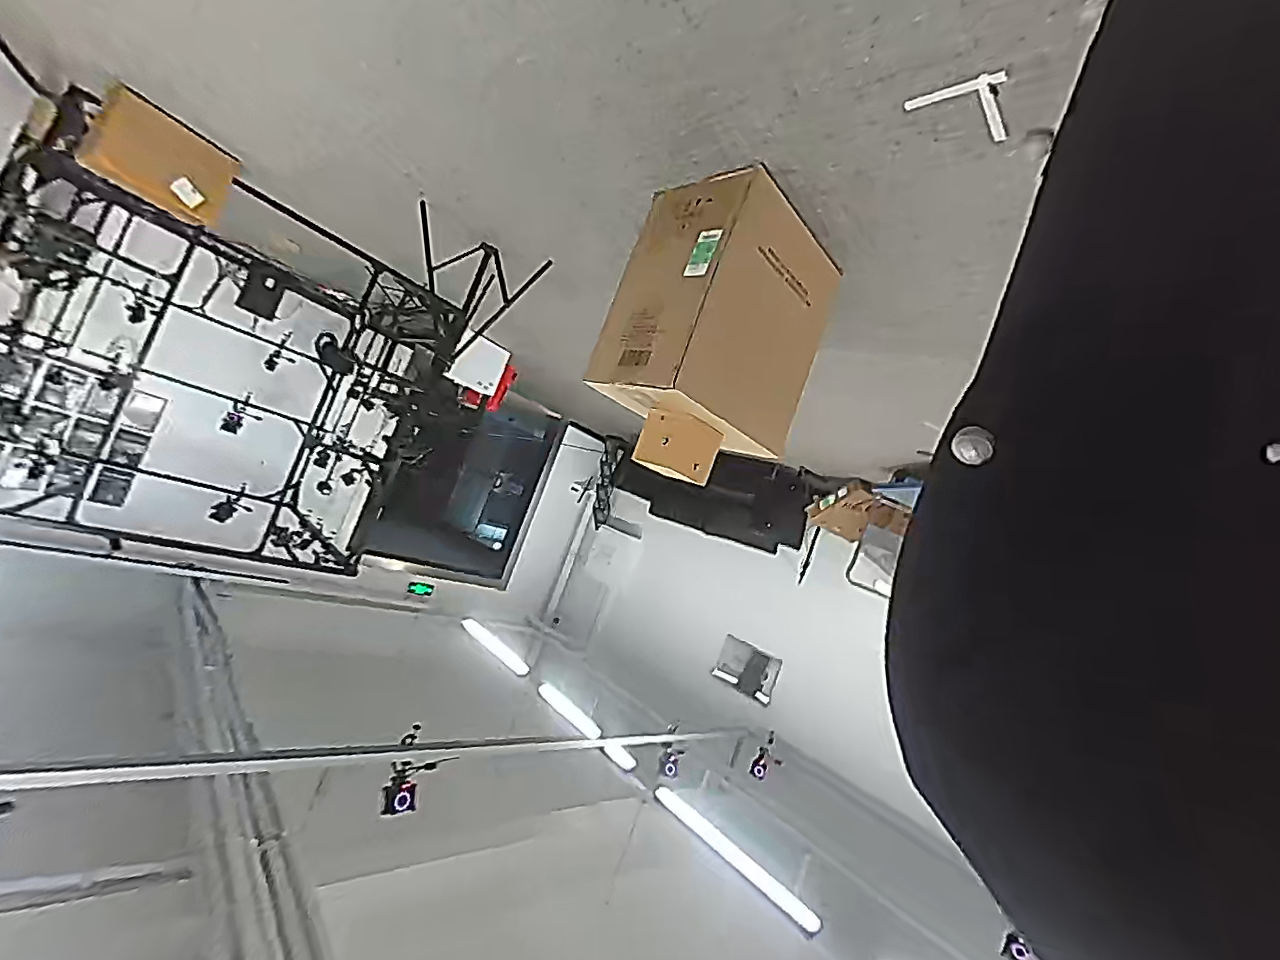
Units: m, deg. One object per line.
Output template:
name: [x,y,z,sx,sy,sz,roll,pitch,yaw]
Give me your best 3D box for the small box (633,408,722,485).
small box: [0.114,-0.102,1.599,0.168,0.176,0.179,16,175,43]
